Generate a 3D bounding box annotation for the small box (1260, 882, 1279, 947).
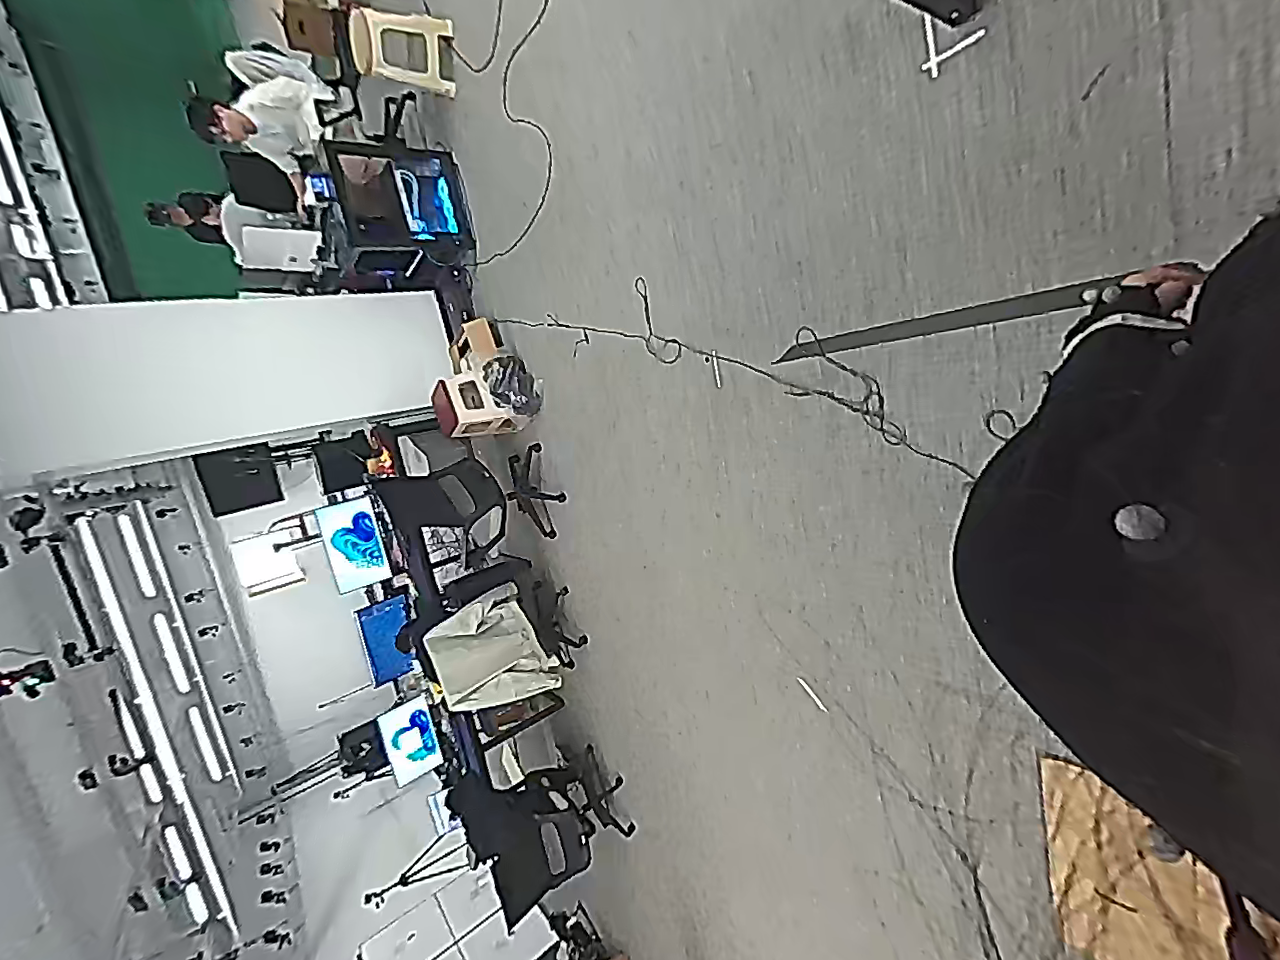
[{"bbox_3d":[1.362,0.959,1.069,0.168,0.176,0.179,-2,104,54],"label":"small box"}]
